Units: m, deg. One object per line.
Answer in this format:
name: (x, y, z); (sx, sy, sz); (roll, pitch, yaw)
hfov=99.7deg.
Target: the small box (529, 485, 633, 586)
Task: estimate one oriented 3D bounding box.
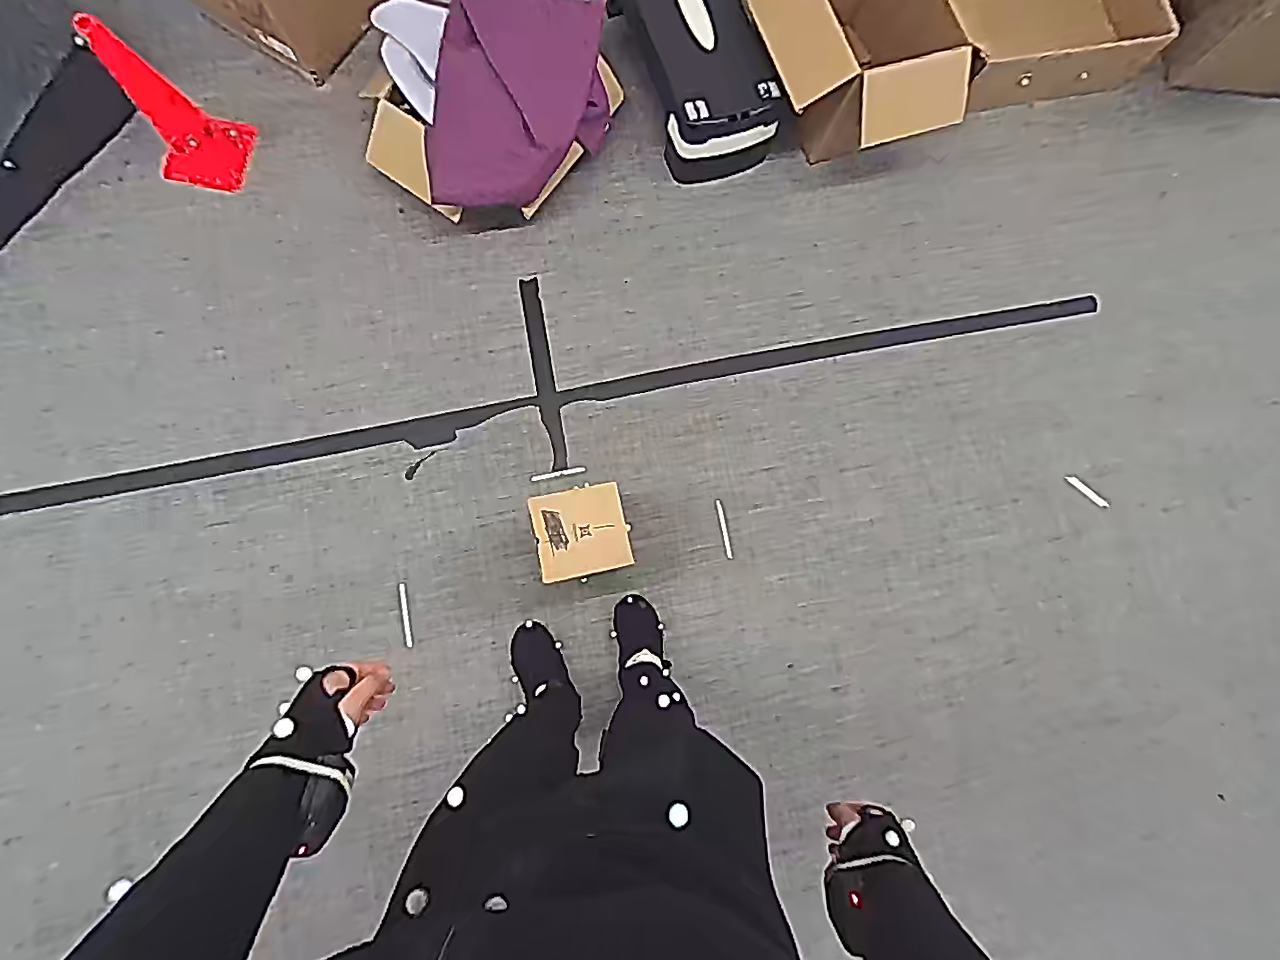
small box: (-0.118, 0.117, 1.101); (0.179, 0.176, 0.168); (-11, 83, -7)
